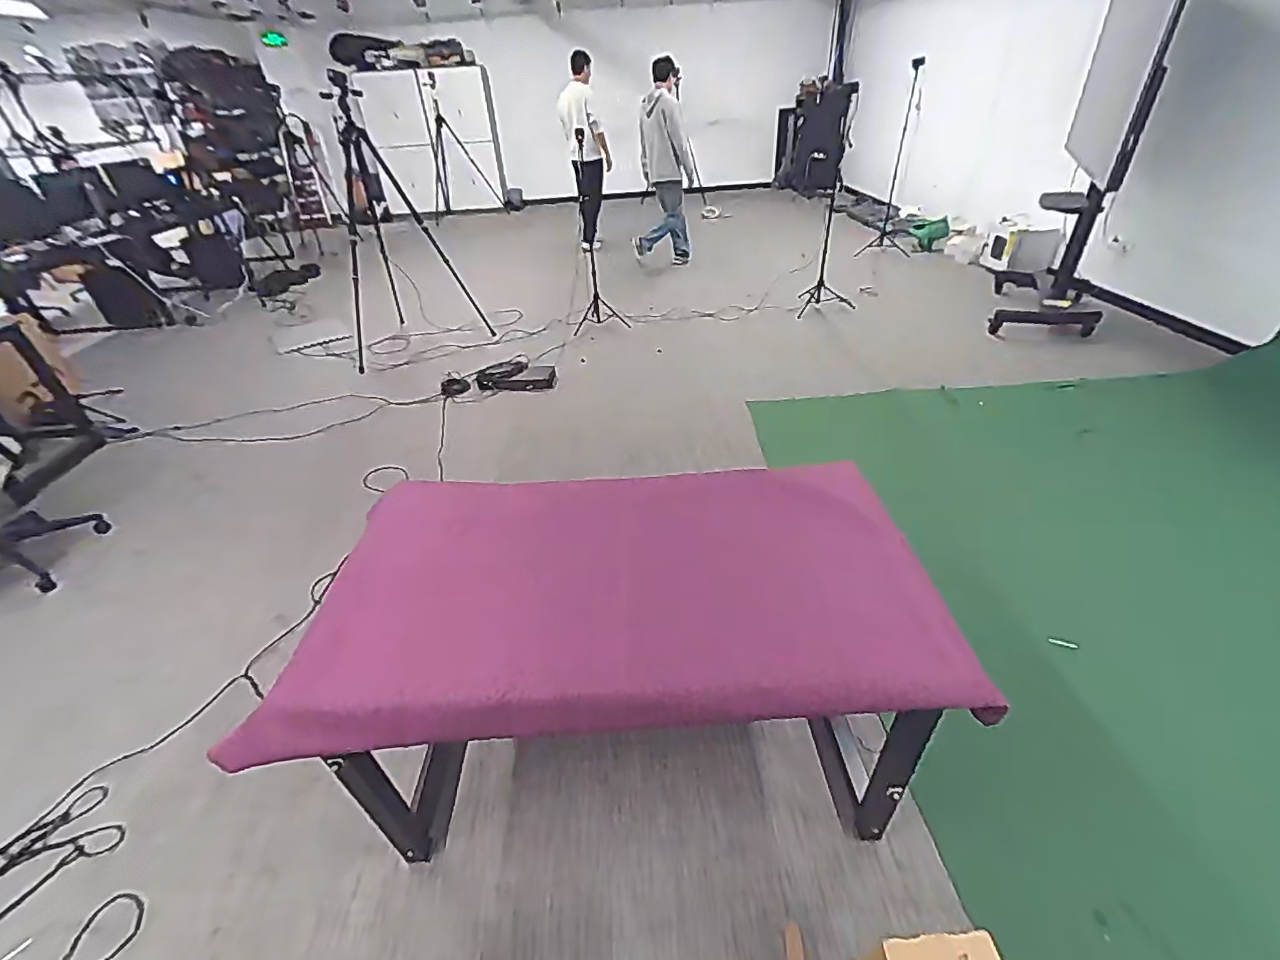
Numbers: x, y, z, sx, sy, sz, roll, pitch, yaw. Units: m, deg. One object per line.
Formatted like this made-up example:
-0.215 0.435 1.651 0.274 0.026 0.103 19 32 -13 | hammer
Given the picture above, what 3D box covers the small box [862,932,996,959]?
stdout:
0.444 0.801 0.795 0.168 0.176 0.179 -3 37 -1 | small box
